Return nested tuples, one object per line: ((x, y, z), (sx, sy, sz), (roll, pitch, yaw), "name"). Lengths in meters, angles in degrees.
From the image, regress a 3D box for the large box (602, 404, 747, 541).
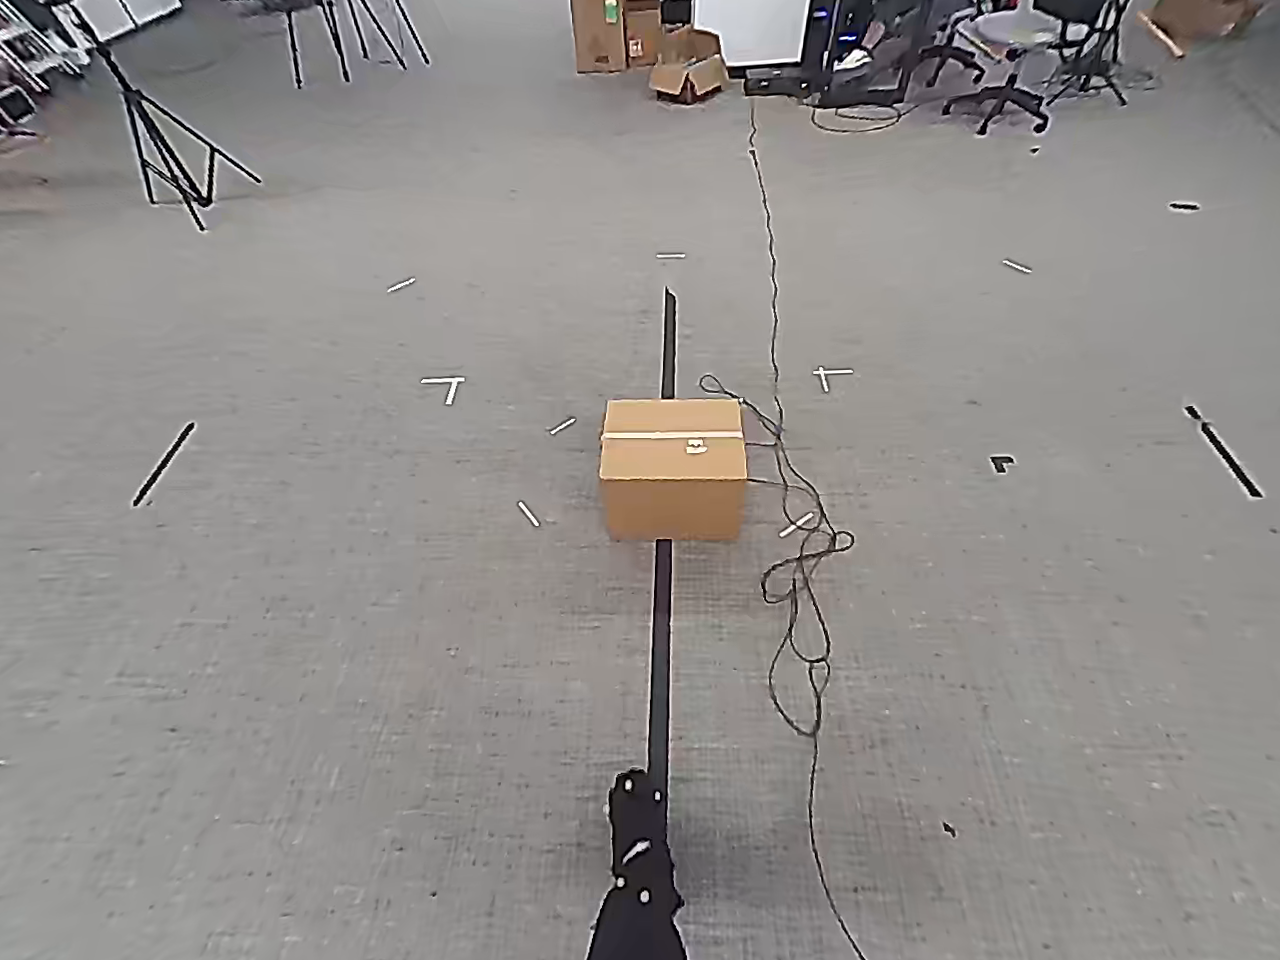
((0.100, -0.020, 1.676), (0.408, 0.320, 0.320), (0, 52, 3), "large box")
